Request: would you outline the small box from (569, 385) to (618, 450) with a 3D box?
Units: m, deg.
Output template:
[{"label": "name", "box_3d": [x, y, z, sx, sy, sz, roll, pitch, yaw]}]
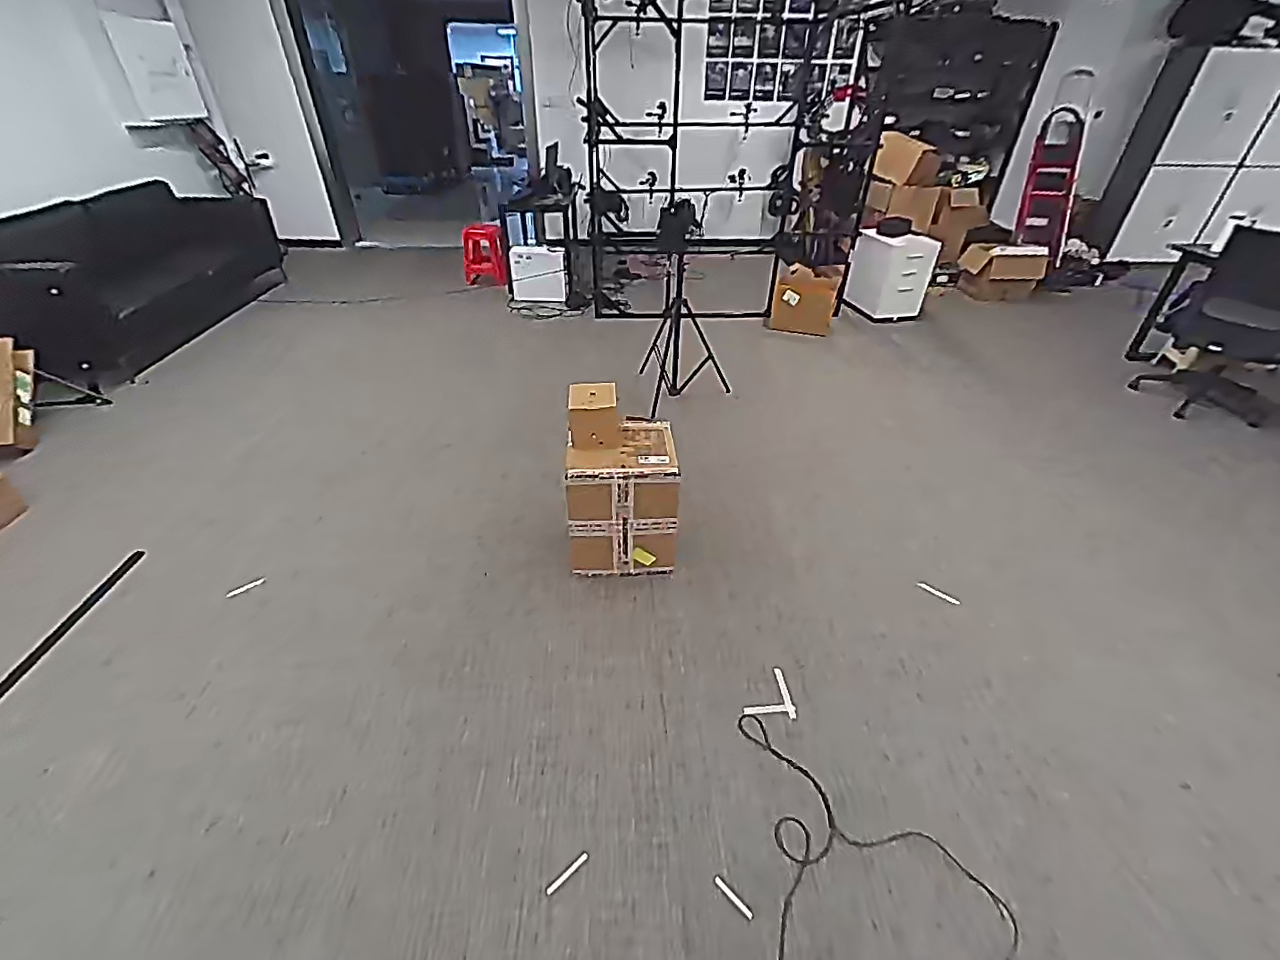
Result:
[{"label": "small box", "box_3d": [-0.165, -0.226, 1.952, 0.168, 0.176, 0.179, -3, 39, -2]}]
